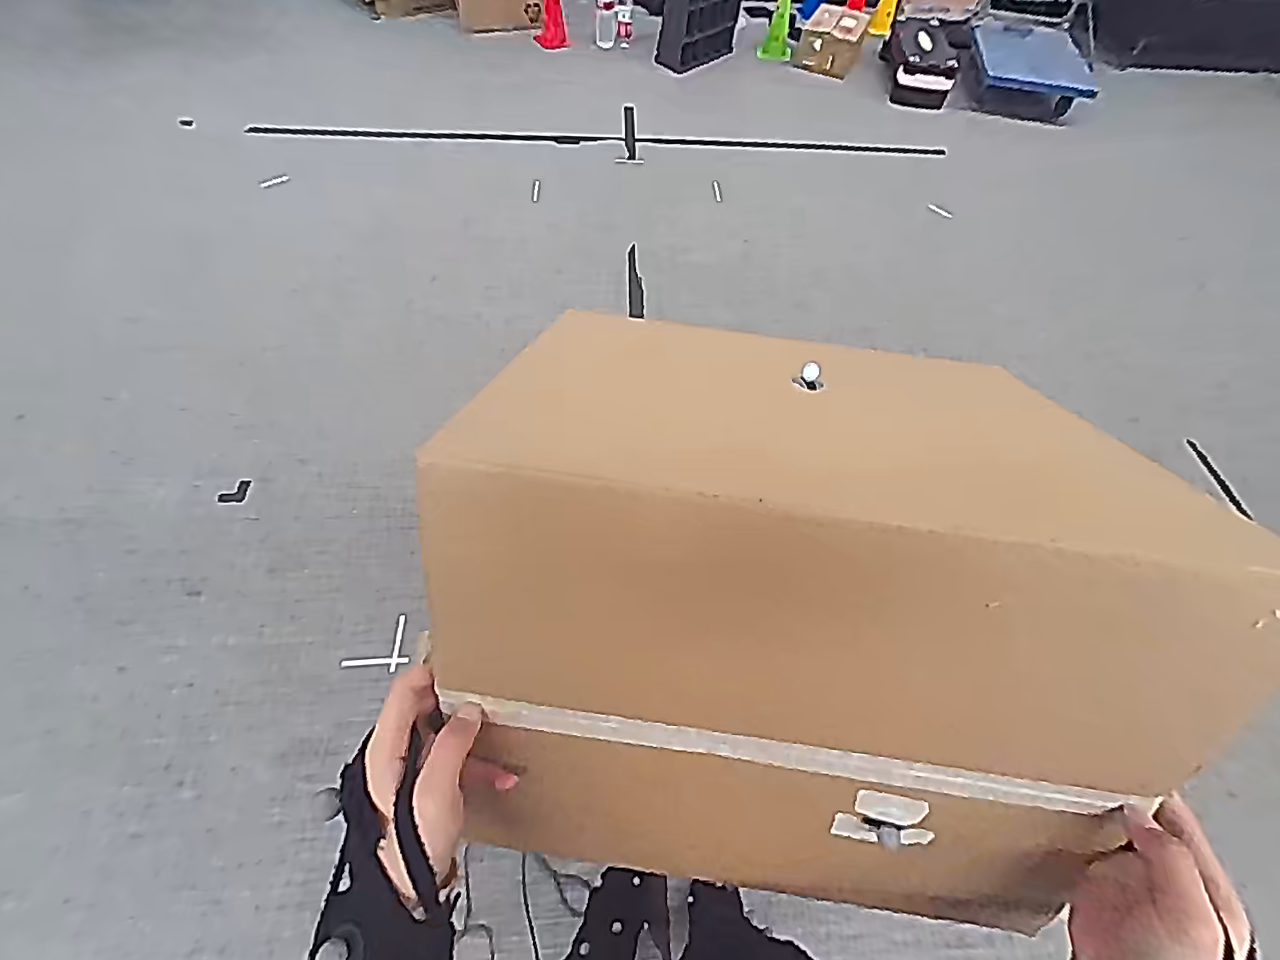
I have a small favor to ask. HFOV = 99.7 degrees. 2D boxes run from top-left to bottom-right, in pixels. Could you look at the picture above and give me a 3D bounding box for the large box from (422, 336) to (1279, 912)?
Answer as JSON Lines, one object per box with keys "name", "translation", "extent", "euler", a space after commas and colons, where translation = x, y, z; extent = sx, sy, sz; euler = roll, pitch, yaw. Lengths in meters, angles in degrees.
{"name": "large box", "translation": [0.093, 0.082, 0.447], "extent": [0.408, 0.320, 0.320], "euler": [6, 30, 2]}
